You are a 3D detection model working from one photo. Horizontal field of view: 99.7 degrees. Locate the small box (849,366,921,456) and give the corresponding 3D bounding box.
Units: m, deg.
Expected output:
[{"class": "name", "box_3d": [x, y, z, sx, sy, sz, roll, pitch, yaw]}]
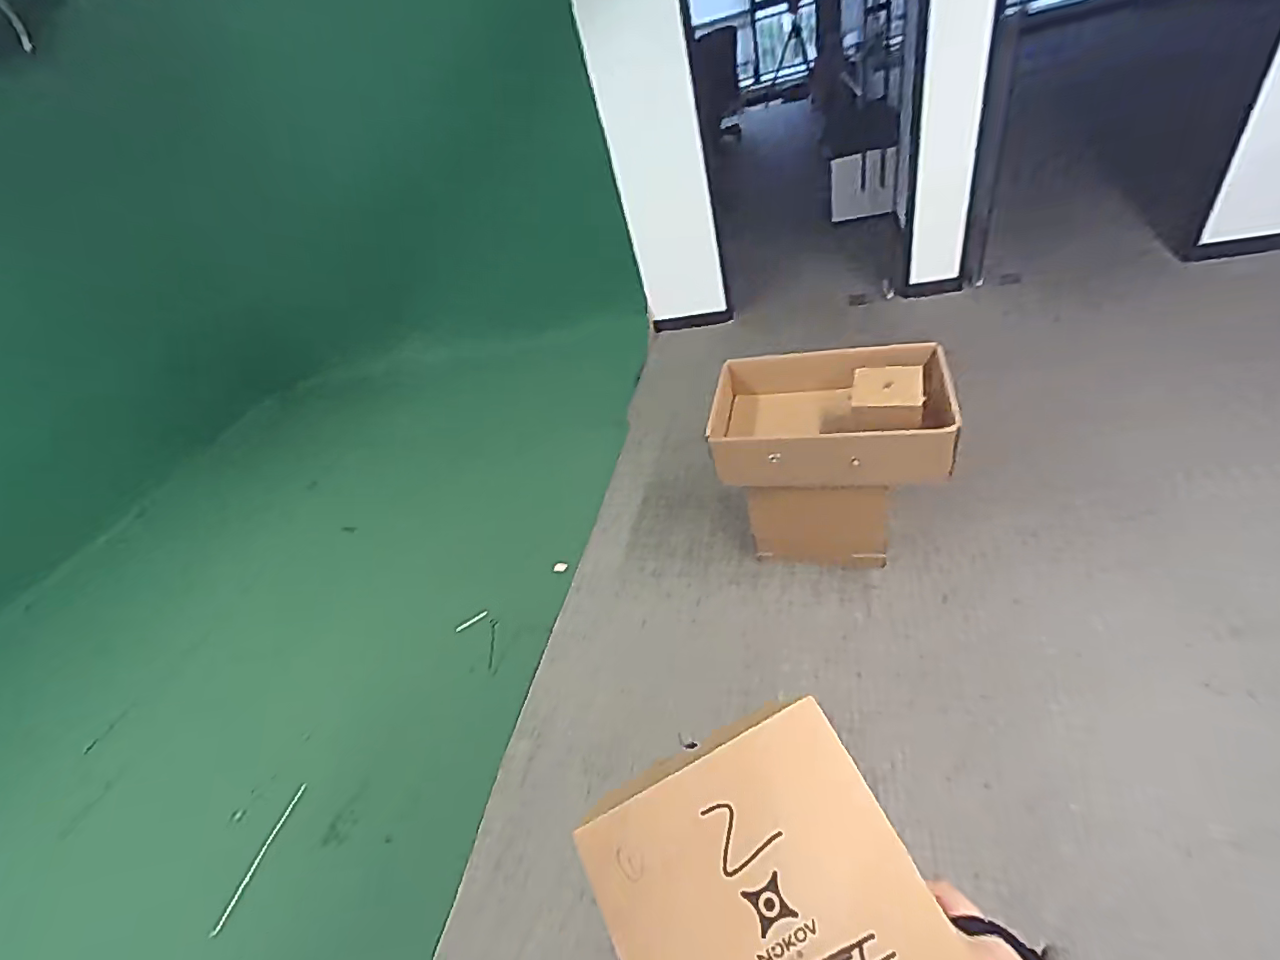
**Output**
[{"class": "small box", "box_3d": [0.654, -0.185, 1.444, 0.168, 0.176, 0.179, 2, 44, 25]}]
